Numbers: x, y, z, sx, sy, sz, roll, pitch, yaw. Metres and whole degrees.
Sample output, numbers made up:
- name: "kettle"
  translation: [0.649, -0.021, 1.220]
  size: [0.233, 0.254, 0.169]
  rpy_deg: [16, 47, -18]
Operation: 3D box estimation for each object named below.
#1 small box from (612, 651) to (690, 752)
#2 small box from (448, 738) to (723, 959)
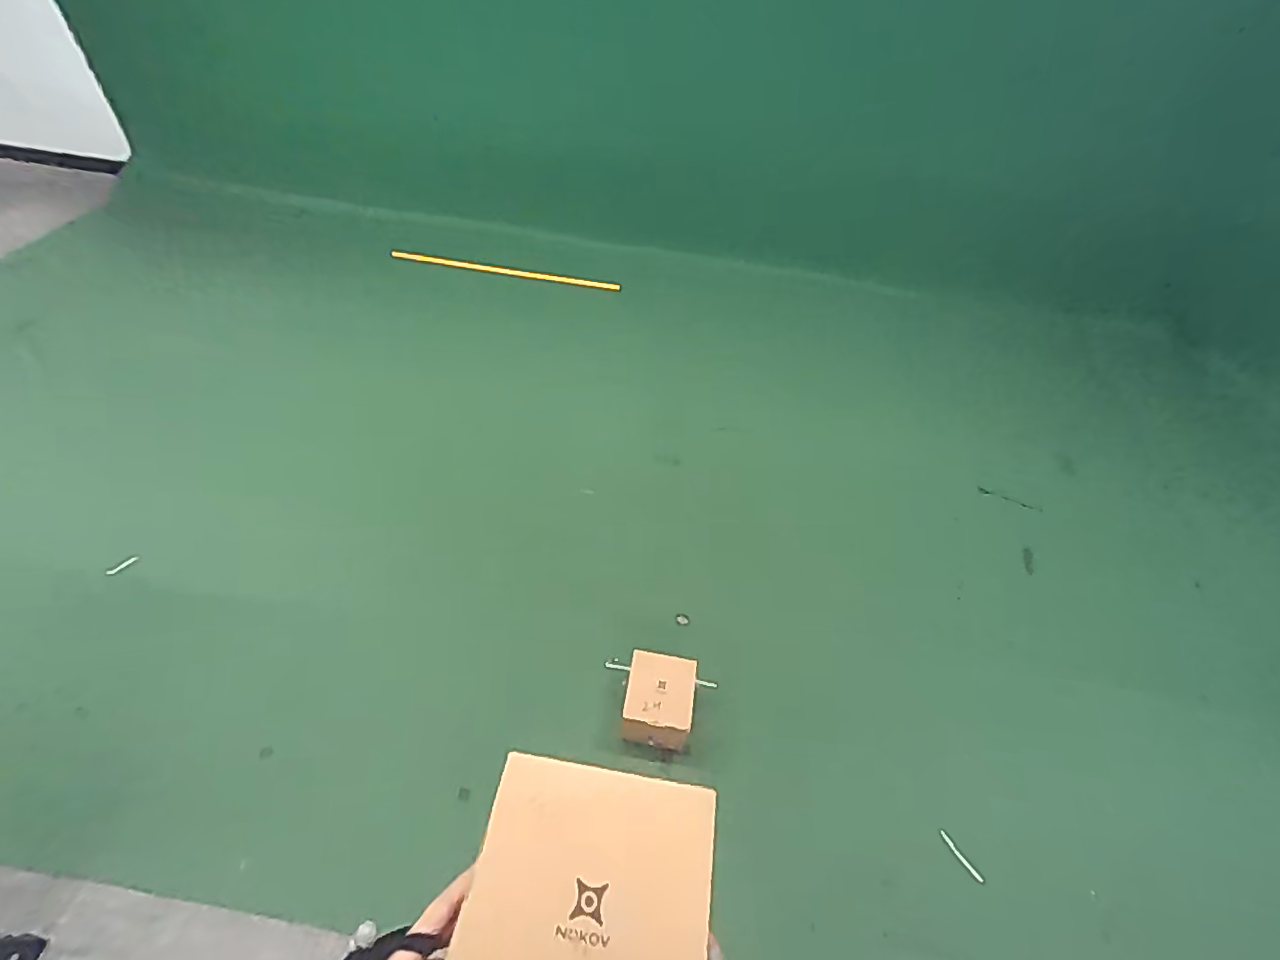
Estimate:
- name: "small box"
  translation: [0.025, 0.567, 1.378]
  size: [0.168, 0.176, 0.179]
  rpy_deg: [11, 48, 2]
- name: "small box"
  translation: [-0.038, 0.330, 0.414]
  size: [0.168, 0.176, 0.179]
  rpy_deg: [10, 47, 2]
